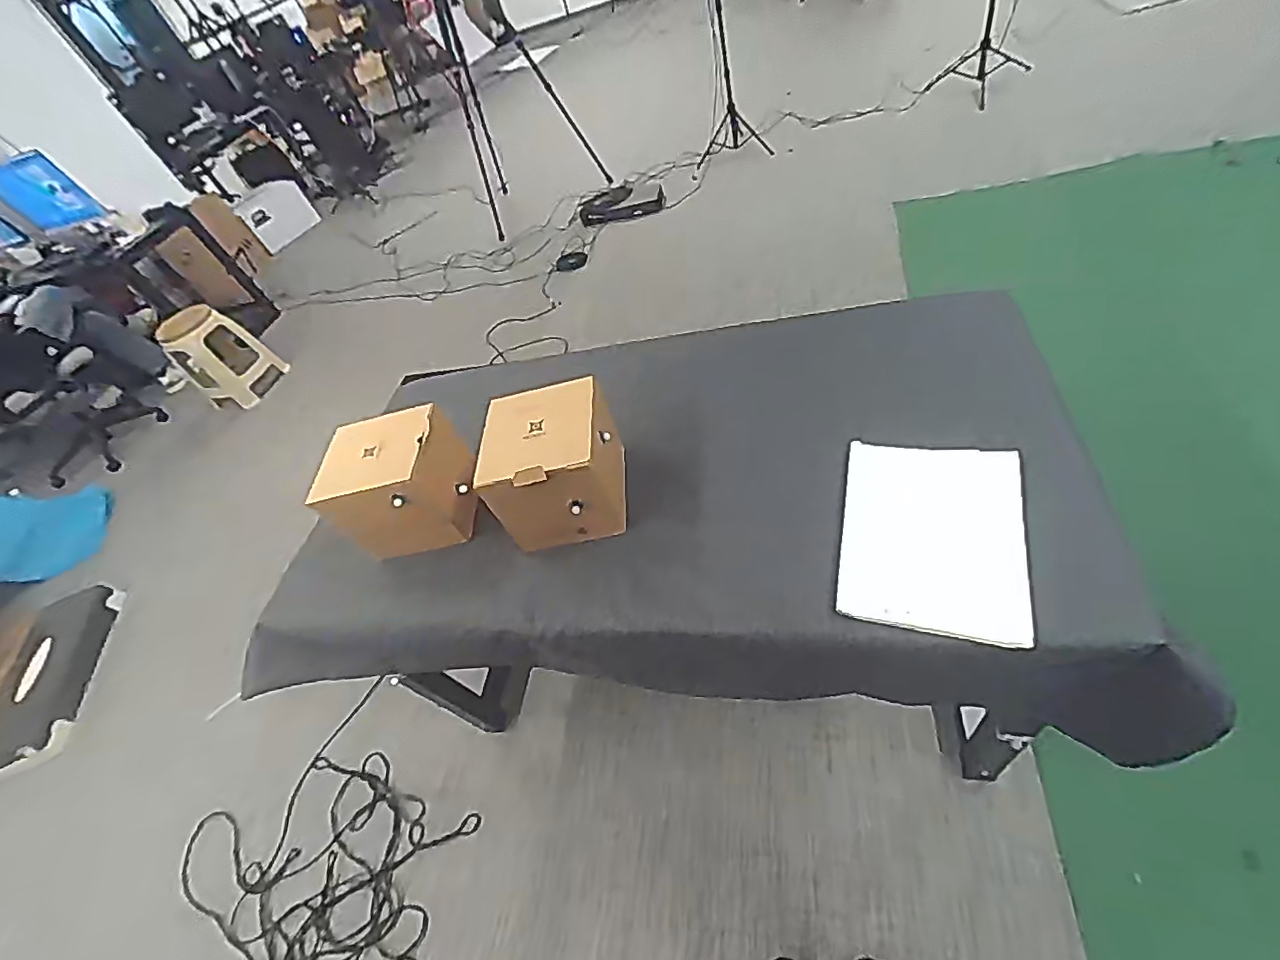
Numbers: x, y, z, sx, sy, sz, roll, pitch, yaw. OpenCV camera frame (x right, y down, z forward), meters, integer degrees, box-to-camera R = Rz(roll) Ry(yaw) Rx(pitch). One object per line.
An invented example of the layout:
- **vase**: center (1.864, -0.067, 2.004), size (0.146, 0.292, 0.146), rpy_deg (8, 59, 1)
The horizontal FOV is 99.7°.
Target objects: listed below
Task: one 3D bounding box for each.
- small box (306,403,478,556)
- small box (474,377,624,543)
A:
- **small box**: center (-0.385, 0.006, 0.880), size (0.179, 0.176, 0.168), rpy_deg (-13, 48, 8)
- **small box**: center (-0.123, -0.021, 0.809), size (0.168, 0.176, 0.179), rpy_deg (-11, 47, 9)
